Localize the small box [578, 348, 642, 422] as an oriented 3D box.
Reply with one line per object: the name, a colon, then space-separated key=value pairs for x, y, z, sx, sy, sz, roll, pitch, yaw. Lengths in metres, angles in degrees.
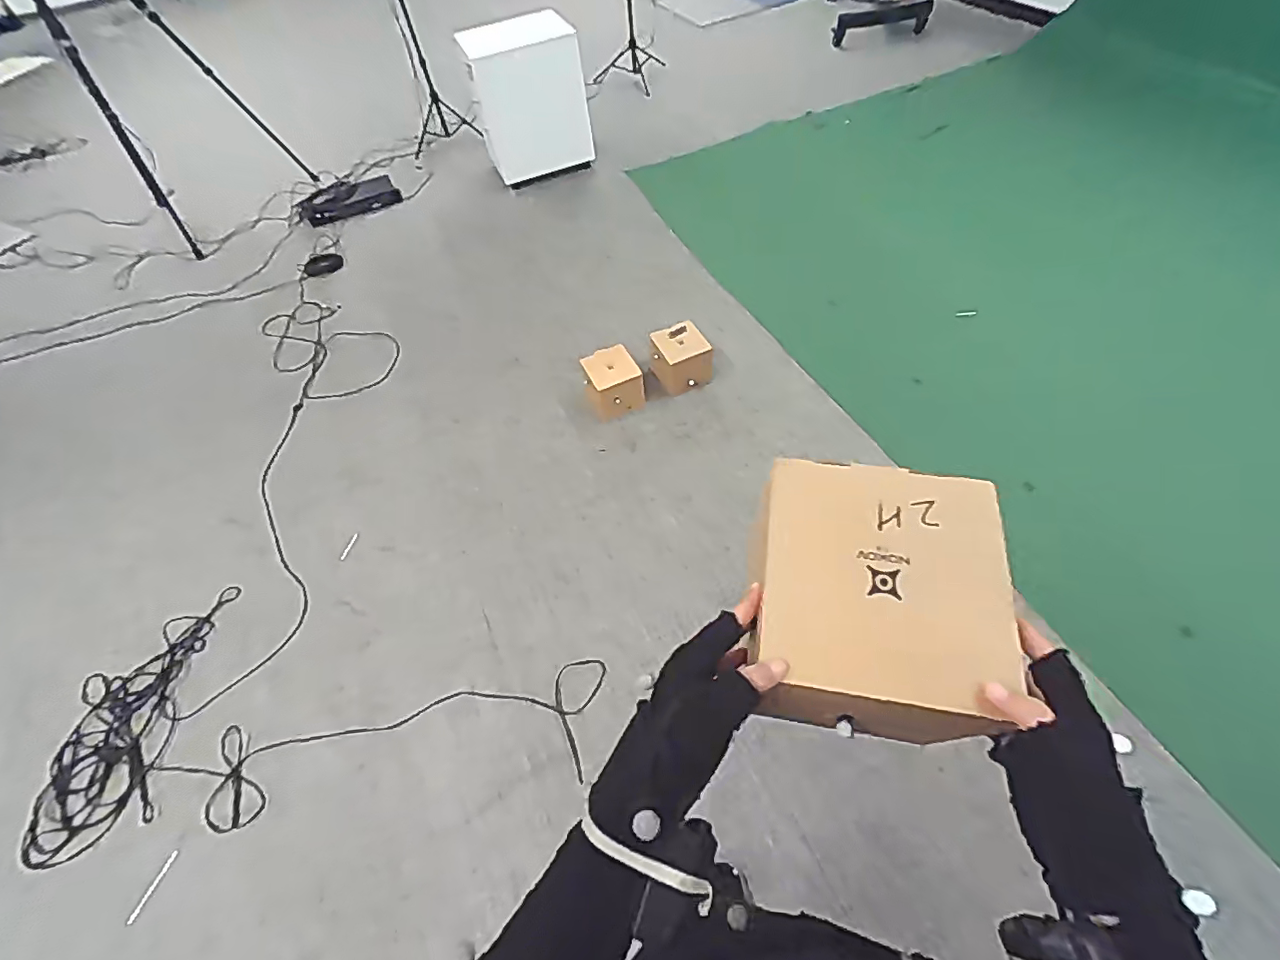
small box: x=-0.101 y=-0.327 z=1.915 sx=0.168 sy=0.176 sz=0.179 roll=-24 pitch=56 yaw=-12

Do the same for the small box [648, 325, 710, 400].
small box: x=0.140 y=-0.424 z=1.959 sx=0.168 sy=0.176 sz=0.179 roll=-23 pitch=57 yaw=-11
